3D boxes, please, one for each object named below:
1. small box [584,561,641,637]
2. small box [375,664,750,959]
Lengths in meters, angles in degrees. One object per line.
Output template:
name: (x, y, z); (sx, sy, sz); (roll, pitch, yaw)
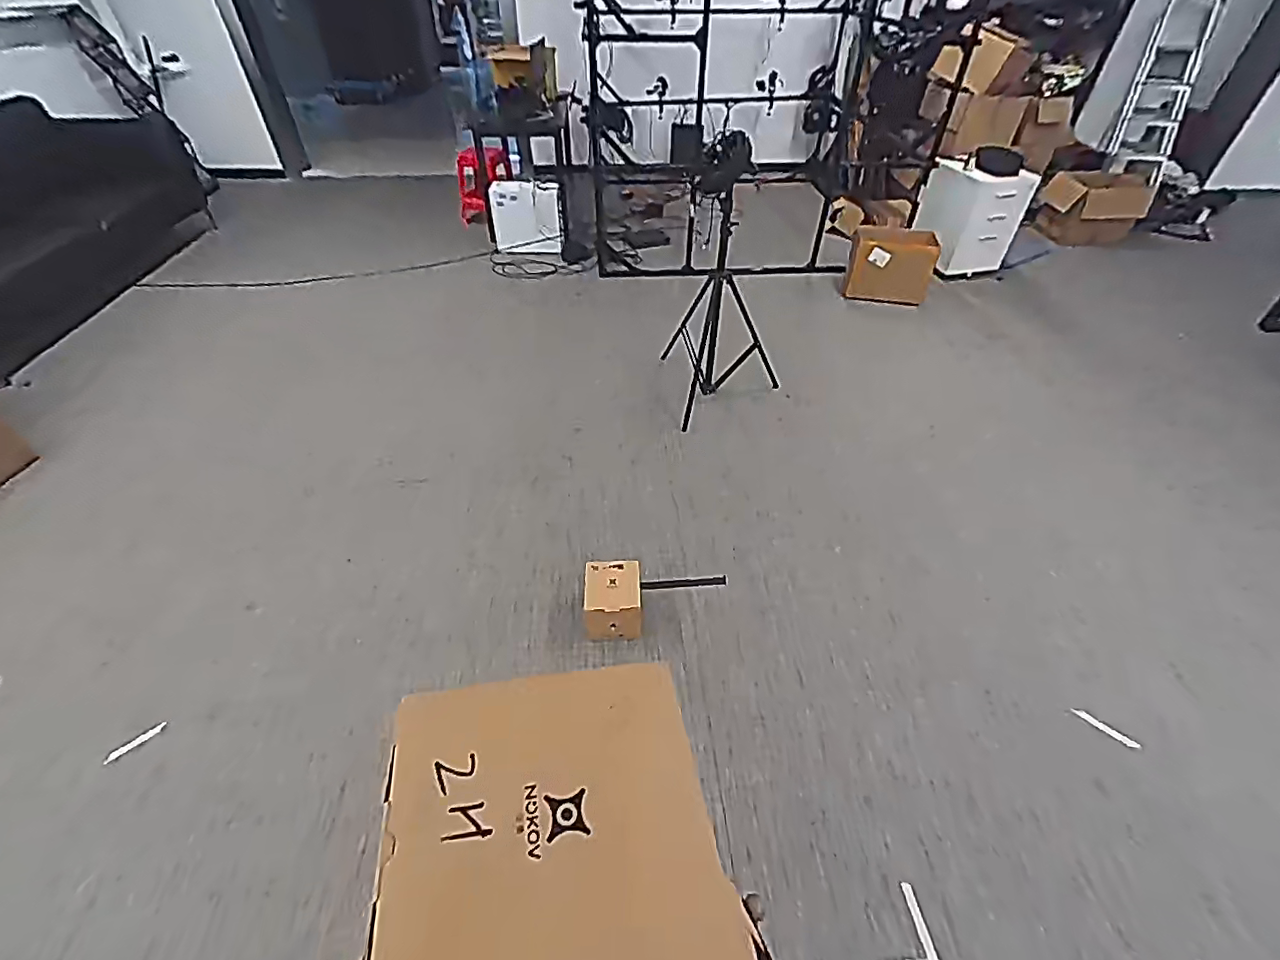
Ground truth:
small box: (-0.081, 0.371, 1.665); (0.168, 0.176, 0.179); (-1, 45, -2)
small box: (-0.055, 0.243, 0.348); (0.179, 0.176, 0.168); (-3, 43, -13)
